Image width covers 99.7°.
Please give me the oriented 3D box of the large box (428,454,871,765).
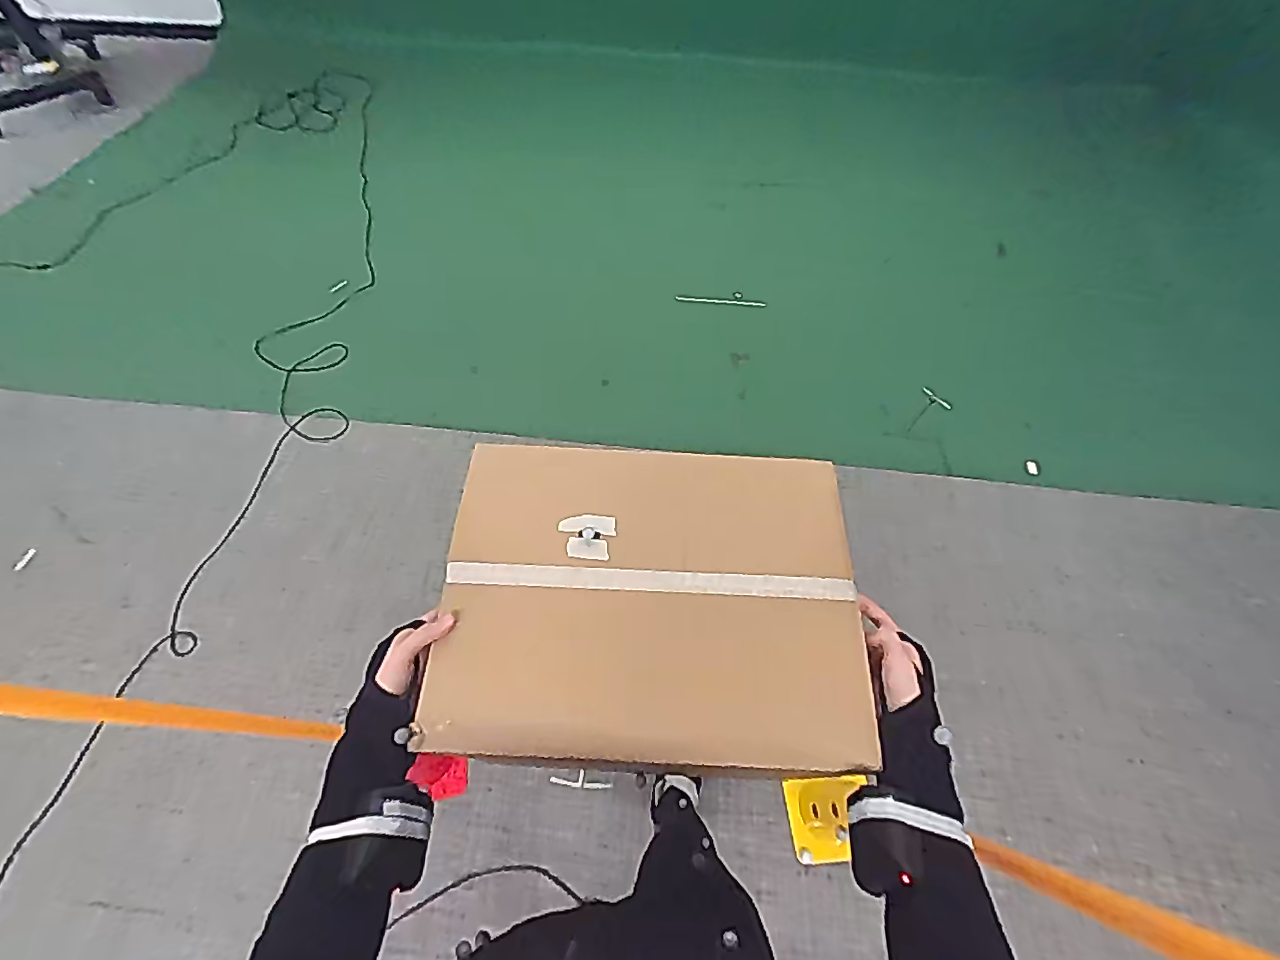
[{"bbox_3d":[0.012,0.180,0.682,0.408,0.320,0.320,2,59,0],"label":"large box"}]
